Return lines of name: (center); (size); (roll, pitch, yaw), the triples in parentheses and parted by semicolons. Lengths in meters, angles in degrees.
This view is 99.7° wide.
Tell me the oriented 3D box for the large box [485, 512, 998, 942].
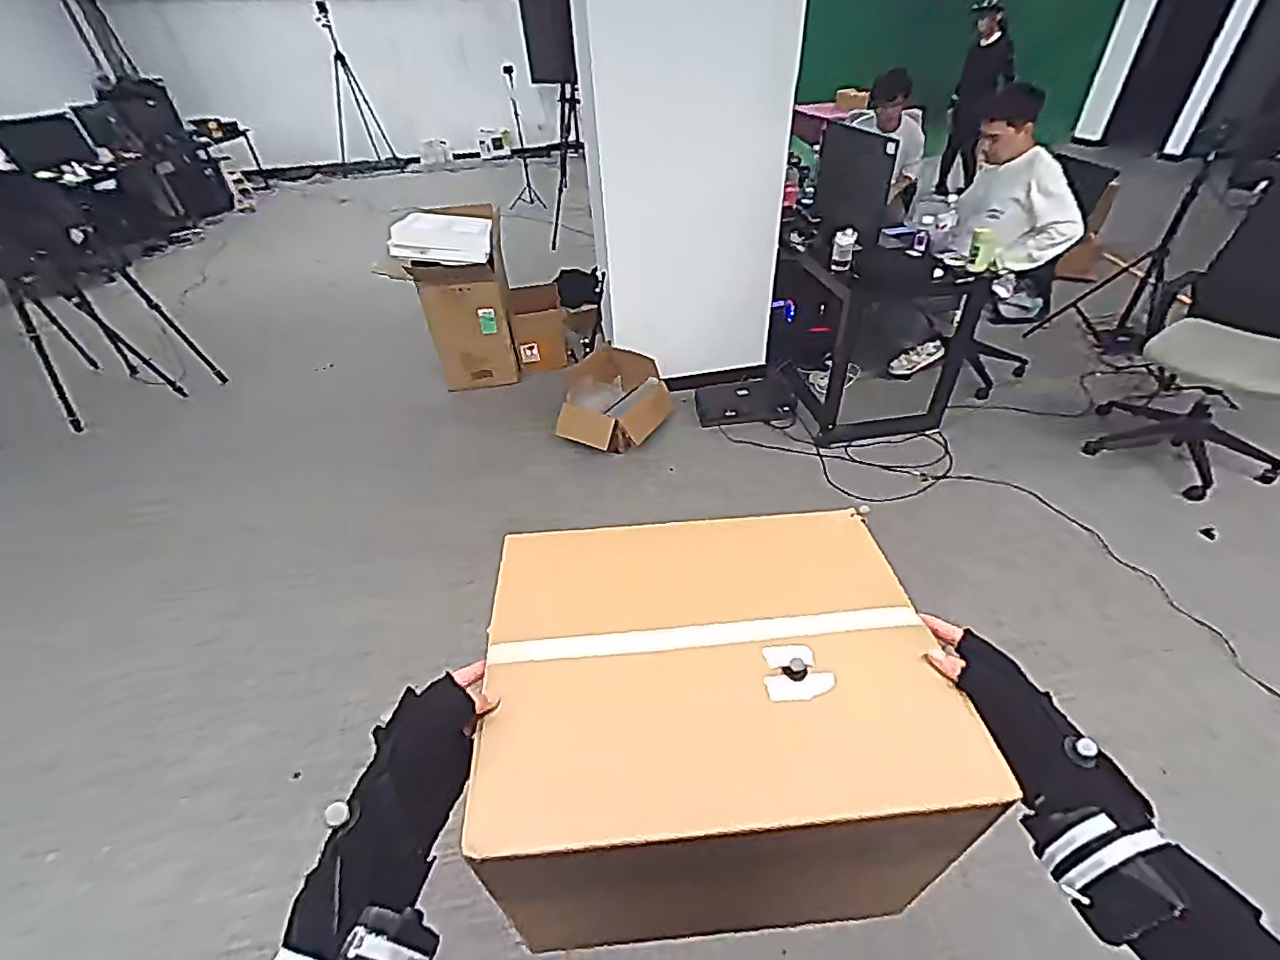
large box: (0.069, 0.265, 0.609); (0.408, 0.320, 0.320); (-4, 40, -4)
